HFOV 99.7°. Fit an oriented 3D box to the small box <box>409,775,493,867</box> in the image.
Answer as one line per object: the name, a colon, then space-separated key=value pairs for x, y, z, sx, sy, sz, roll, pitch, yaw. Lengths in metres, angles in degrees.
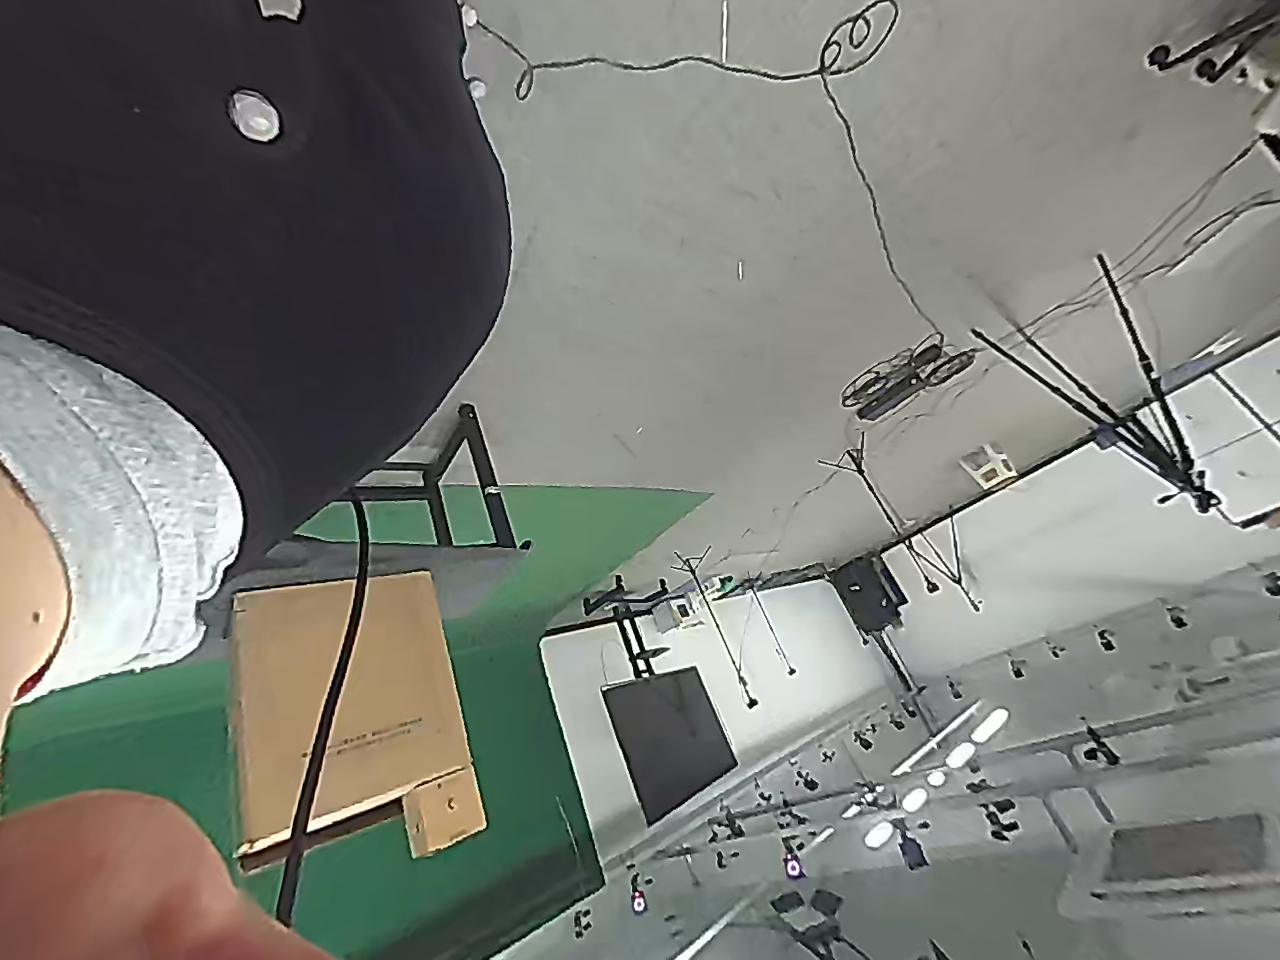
small box: x=-0.550 y=0.976 z=1.558 sx=0.168 sy=0.176 sz=0.179 roll=-3 pitch=148 yaw=-40
